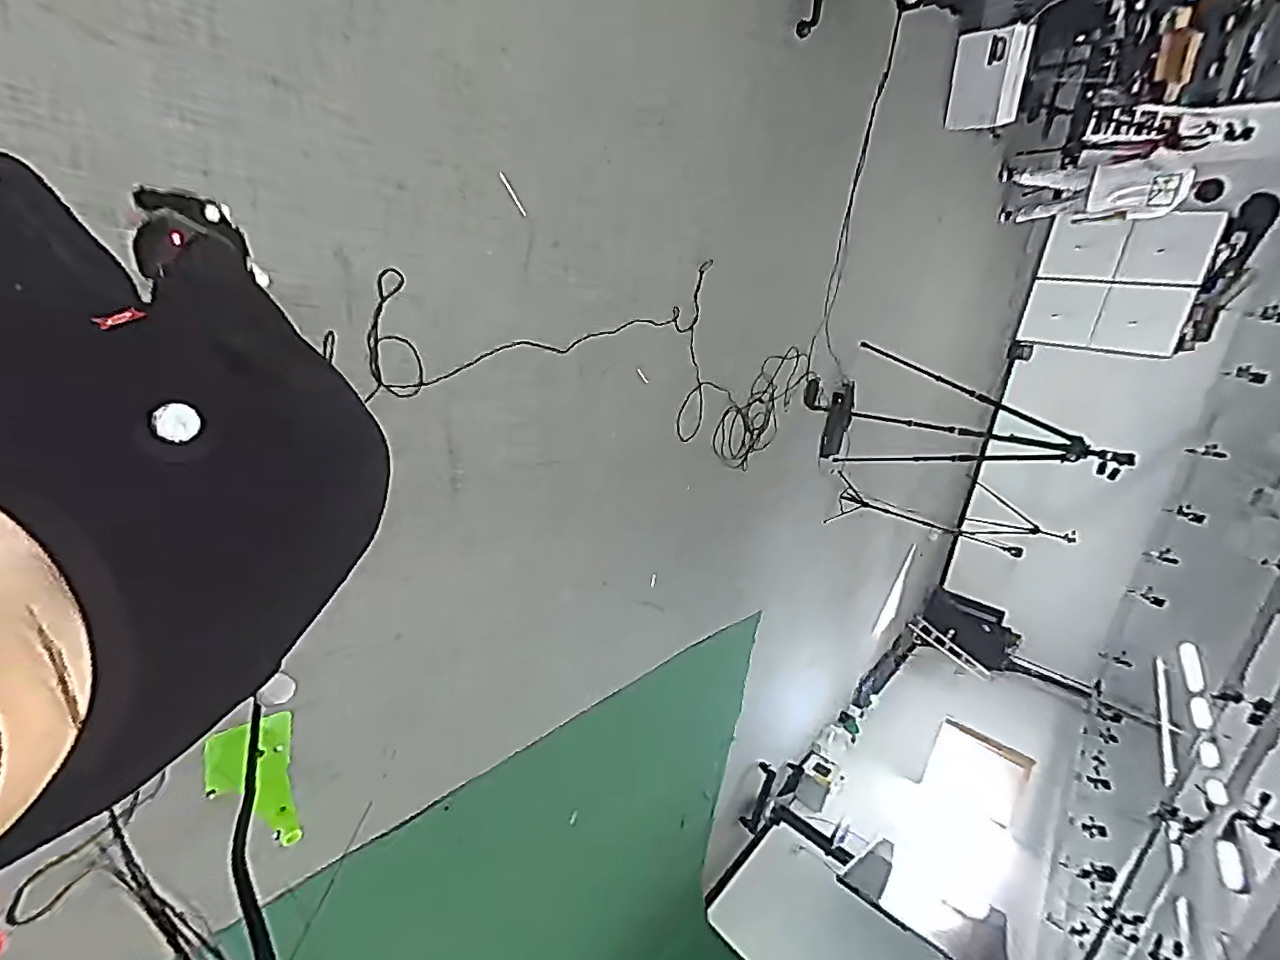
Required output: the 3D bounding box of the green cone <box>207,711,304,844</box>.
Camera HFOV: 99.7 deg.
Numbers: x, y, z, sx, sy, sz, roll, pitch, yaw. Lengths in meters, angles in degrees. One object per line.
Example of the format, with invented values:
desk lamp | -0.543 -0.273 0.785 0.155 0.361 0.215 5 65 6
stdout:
green cone | -0.961 0.814 1.414 0.200 0.368 0.202 -8 112 -49
